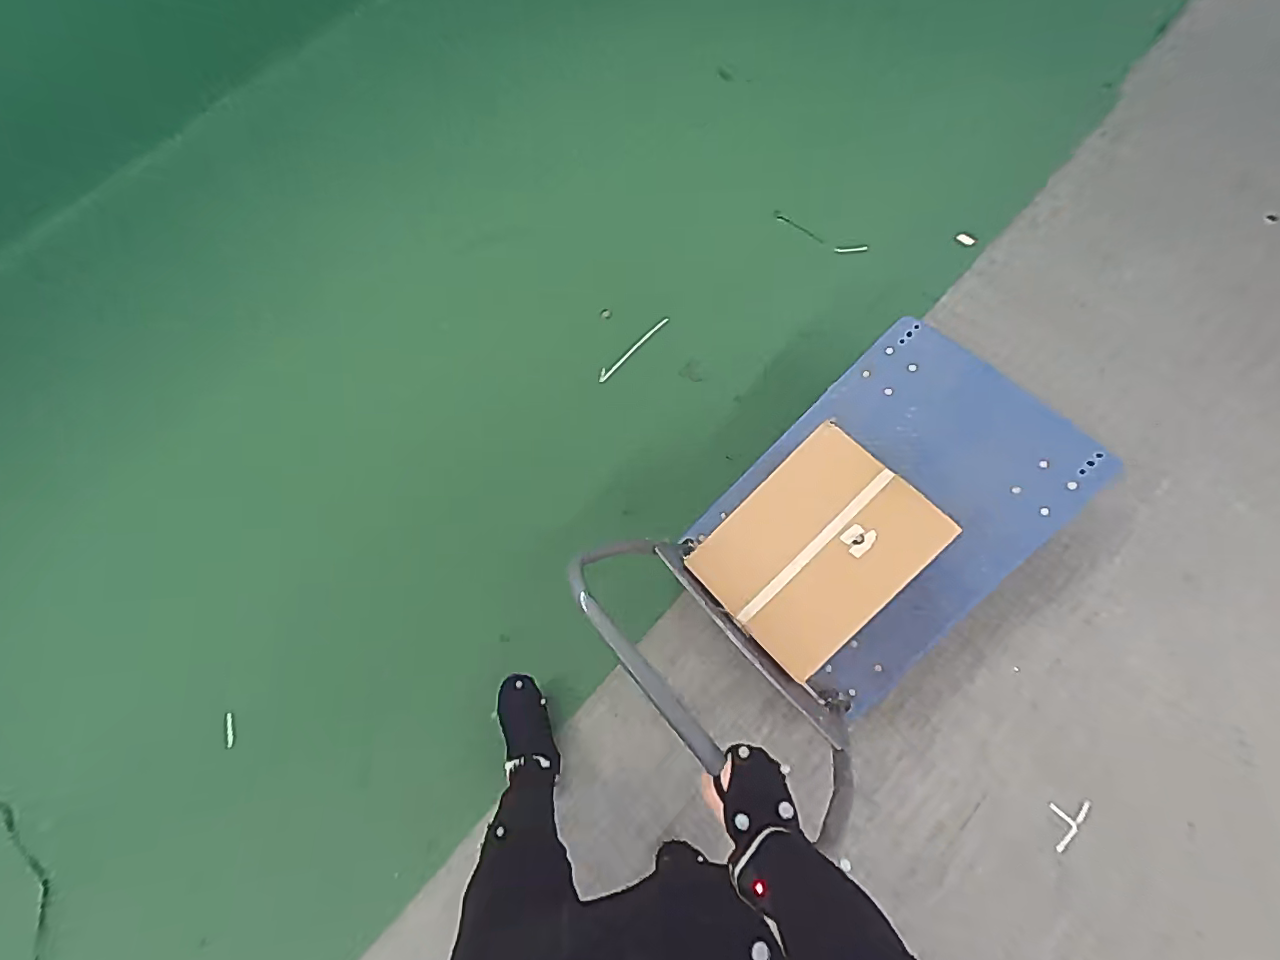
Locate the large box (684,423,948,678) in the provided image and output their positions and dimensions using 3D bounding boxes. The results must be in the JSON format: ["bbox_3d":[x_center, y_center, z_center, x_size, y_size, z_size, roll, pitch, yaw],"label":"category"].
[{"bbox_3d":[0.362,0.158,1.173,0.408,0.320,0.320,-45,71,3],"label":"large box"}]
